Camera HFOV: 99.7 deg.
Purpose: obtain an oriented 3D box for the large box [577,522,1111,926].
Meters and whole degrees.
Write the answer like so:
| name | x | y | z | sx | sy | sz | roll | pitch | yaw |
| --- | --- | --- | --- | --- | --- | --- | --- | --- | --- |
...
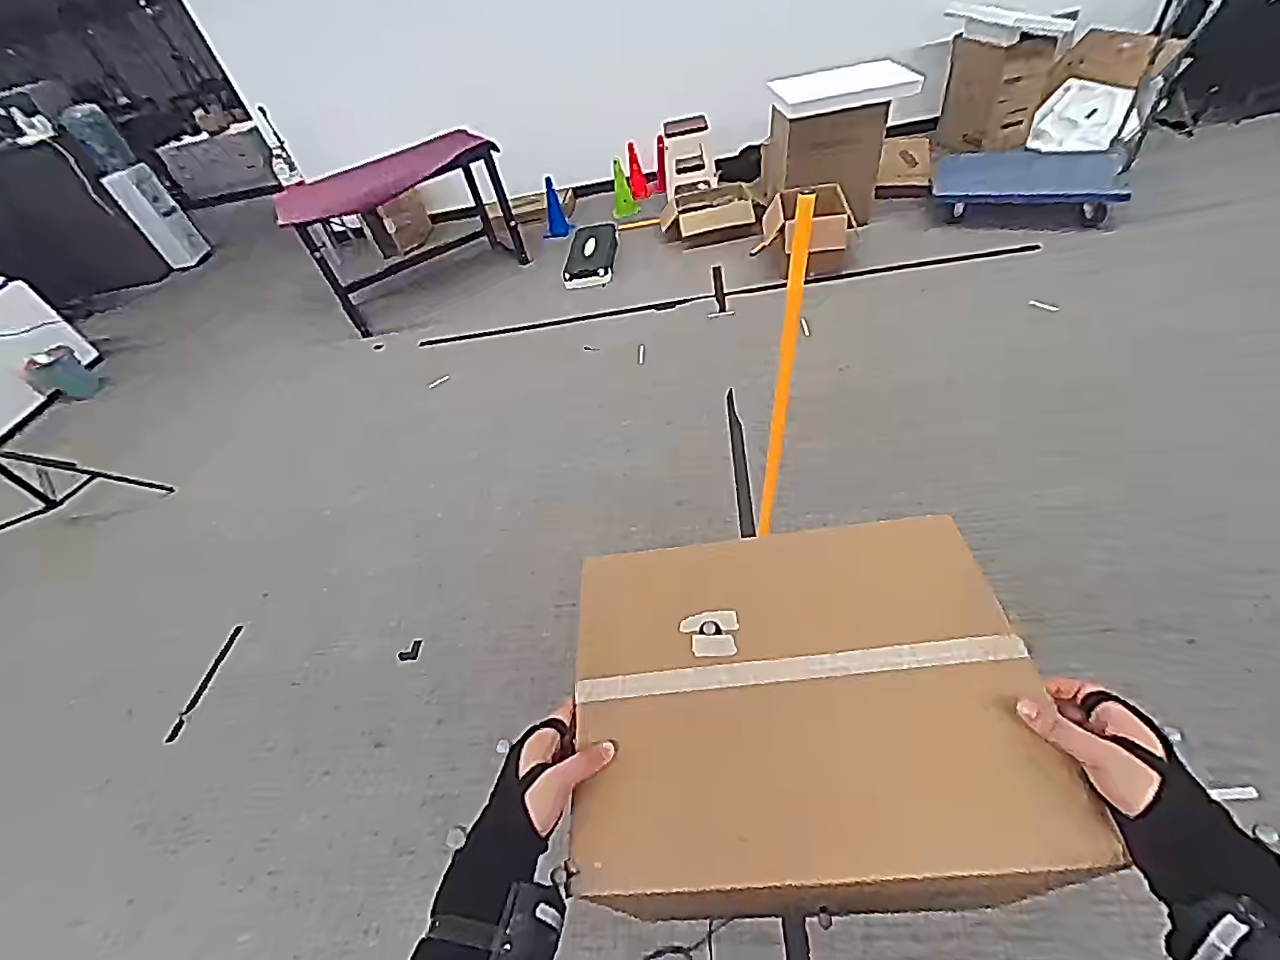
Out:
| name | x | y | z | sx | sy | sz | roll | pitch | yaw |
| --- | --- | --- | --- | --- | --- | --- | --- | --- | --- |
| large box | 0.169 | 0.287 | 0.613 | 0.408 | 0.320 | 0.320 | -9 | 45 | 8 |
